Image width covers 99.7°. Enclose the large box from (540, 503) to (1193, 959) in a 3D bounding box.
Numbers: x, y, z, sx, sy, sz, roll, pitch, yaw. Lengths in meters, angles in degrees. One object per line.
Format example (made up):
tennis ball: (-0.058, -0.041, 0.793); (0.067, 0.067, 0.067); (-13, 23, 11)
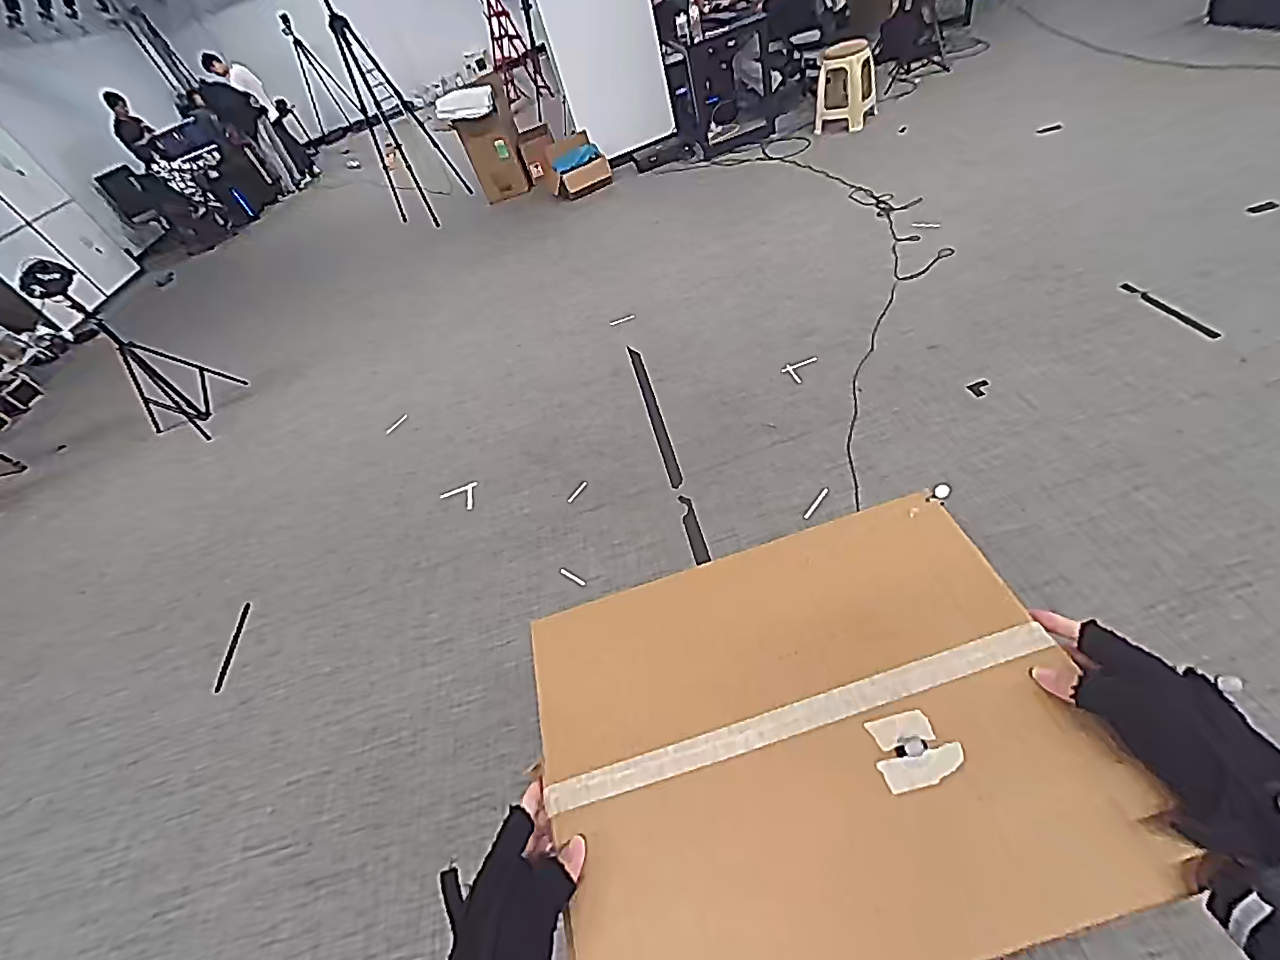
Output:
large box: (0.155, 0.288, 0.544); (0.408, 0.320, 0.320); (-19, 49, 1)
